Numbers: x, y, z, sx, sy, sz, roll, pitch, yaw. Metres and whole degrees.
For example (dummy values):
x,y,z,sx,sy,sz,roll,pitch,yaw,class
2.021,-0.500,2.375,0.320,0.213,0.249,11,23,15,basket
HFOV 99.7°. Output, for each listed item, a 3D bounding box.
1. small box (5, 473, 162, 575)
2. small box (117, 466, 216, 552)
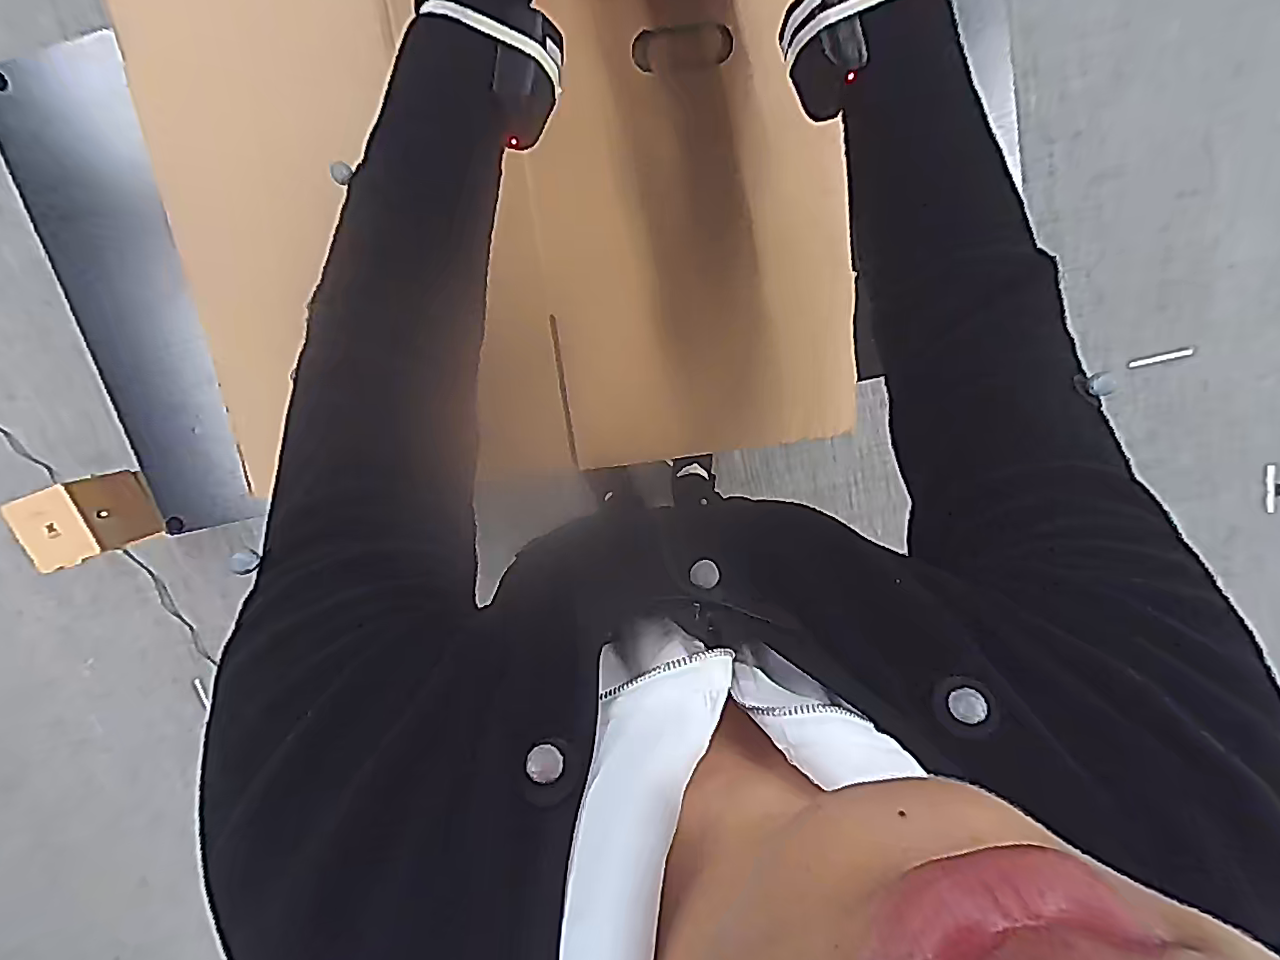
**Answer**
x,y,z,sx,sy,sz,roll,pitch,yaw,class
-1.319,0.100,1.298,0.168,0.176,0.179,-20,100,5,small box
-1.311,0.069,1.458,0.168,0.176,0.179,-16,102,5,small box
